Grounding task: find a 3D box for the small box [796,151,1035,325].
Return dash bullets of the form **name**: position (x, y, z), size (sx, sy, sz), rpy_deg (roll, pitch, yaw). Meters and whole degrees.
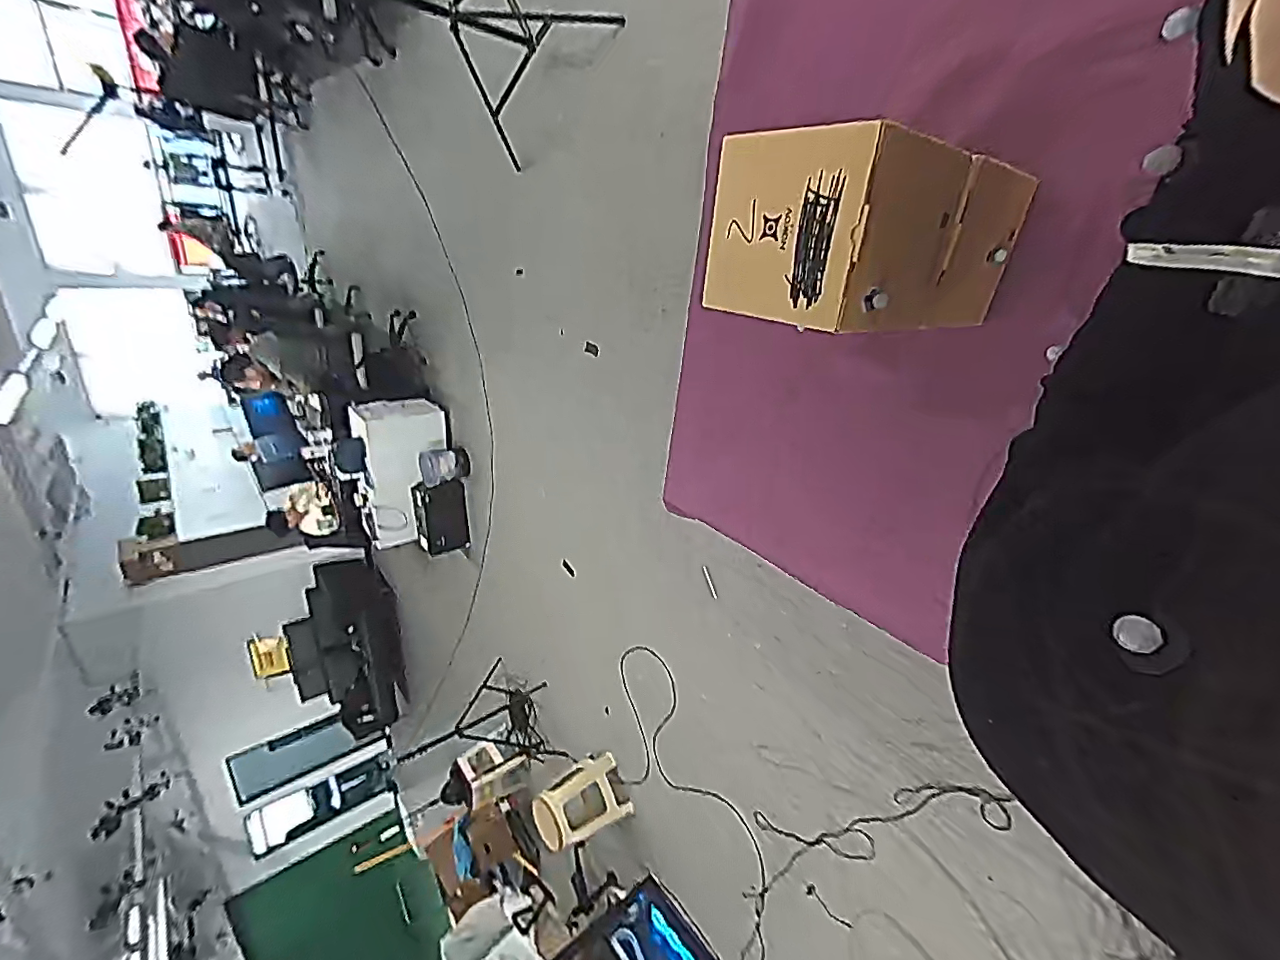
- **small box**: position (0.326, -0.289, 0.654), size (0.179, 0.176, 0.168), rpy_deg (33, 127, 42)
